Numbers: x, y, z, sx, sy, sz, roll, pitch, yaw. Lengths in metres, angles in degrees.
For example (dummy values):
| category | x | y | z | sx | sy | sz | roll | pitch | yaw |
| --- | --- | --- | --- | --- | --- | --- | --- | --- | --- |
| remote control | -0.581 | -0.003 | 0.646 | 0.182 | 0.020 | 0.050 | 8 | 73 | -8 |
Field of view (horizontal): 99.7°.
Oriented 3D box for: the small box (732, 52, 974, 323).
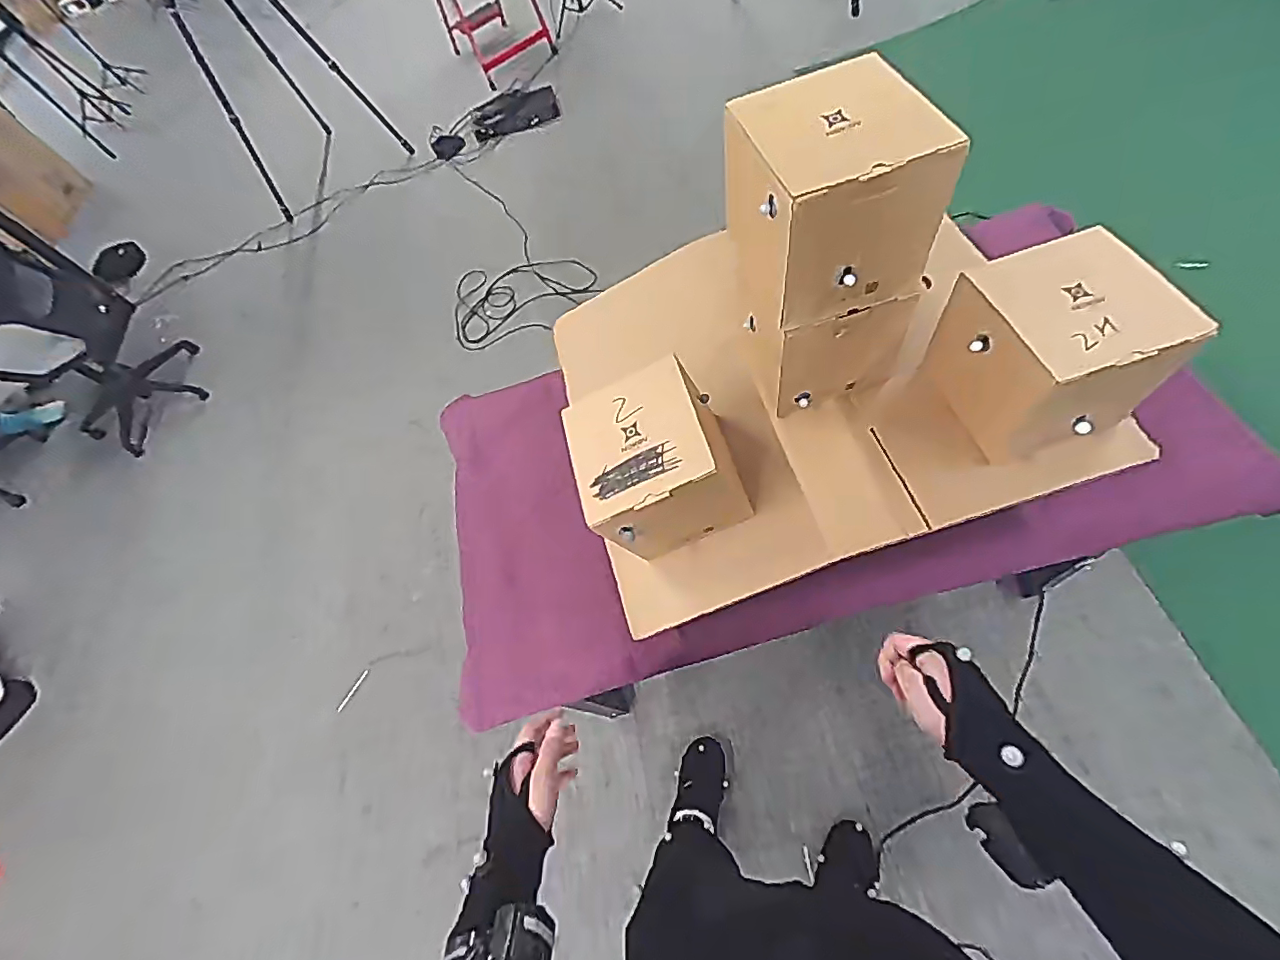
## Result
| category | x | y | z | sx | sy | sz | roll | pitch | yaw |
| --- | --- | --- | --- | --- | --- | --- | --- | --- | --- |
| small box | 0.202 | -0.304 | 0.579 | 0.168 | 0.176 | 0.179 | -19 | 62 | 0 |

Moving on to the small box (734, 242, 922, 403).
| category | x | y | z | sx | sy | sz | roll | pitch | yaw |
| --- | --- | --- | --- | --- | --- | --- | --- | --- | --- |
| small box | 0.232 | -0.223 | 0.716 | 0.168 | 0.176 | 0.179 | -18 | 60 | 0 |

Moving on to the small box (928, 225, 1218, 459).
| category | x | y | z | sx | sy | sz | roll | pitch | yaw |
| --- | --- | --- | --- | --- | --- | --- | --- | --- | --- |
| small box | 0.475 | -0.154 | 0.635 | 0.168 | 0.176 | 0.179 | -18 | 61 | 2 |
